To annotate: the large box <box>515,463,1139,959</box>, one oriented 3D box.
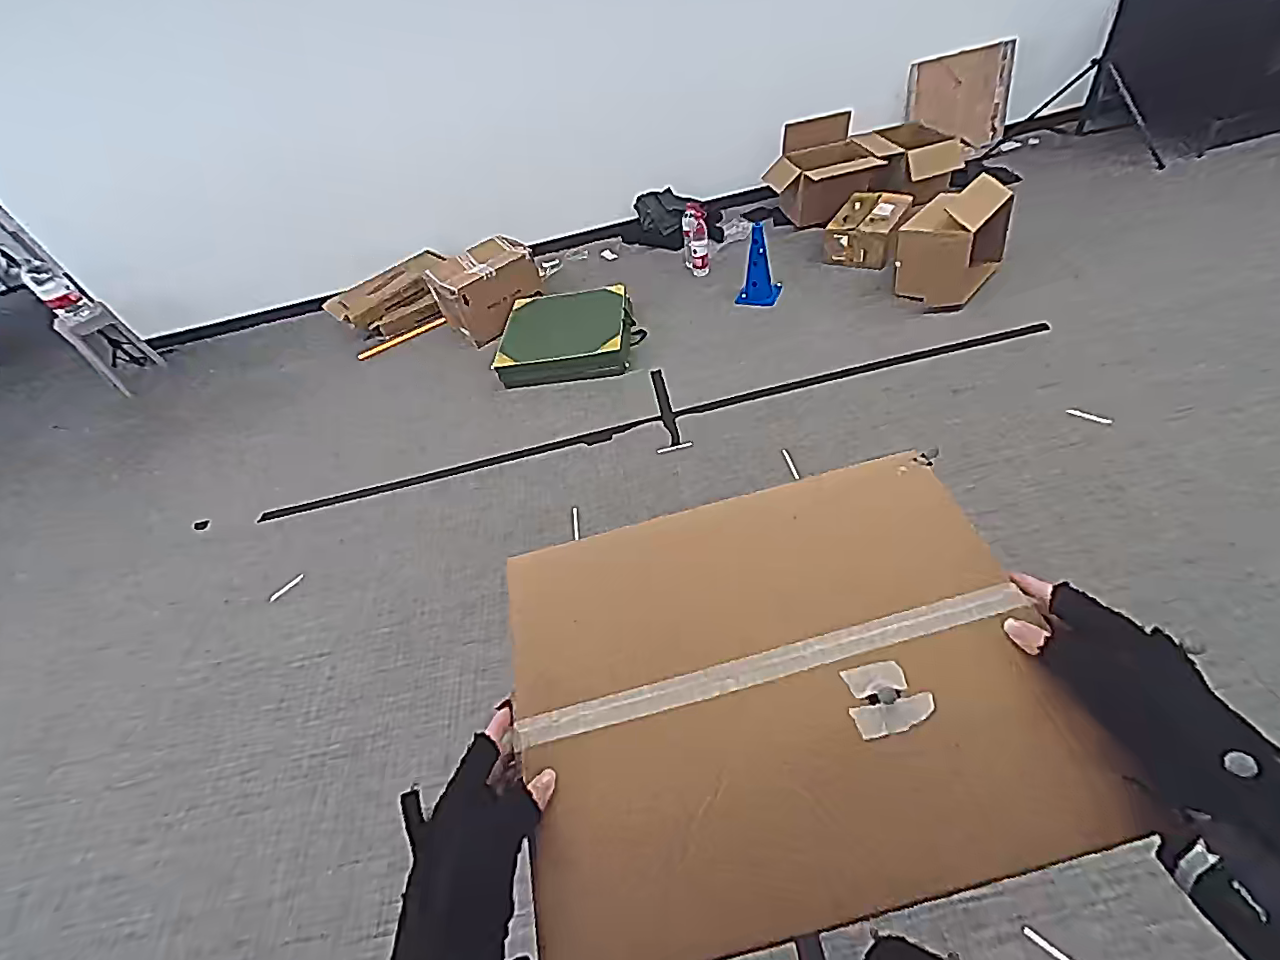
[{"bbox_3d":[0.123,0.240,0.553,0.408,0.320,0.320,-15,54,-1],"label":"large box"}]
